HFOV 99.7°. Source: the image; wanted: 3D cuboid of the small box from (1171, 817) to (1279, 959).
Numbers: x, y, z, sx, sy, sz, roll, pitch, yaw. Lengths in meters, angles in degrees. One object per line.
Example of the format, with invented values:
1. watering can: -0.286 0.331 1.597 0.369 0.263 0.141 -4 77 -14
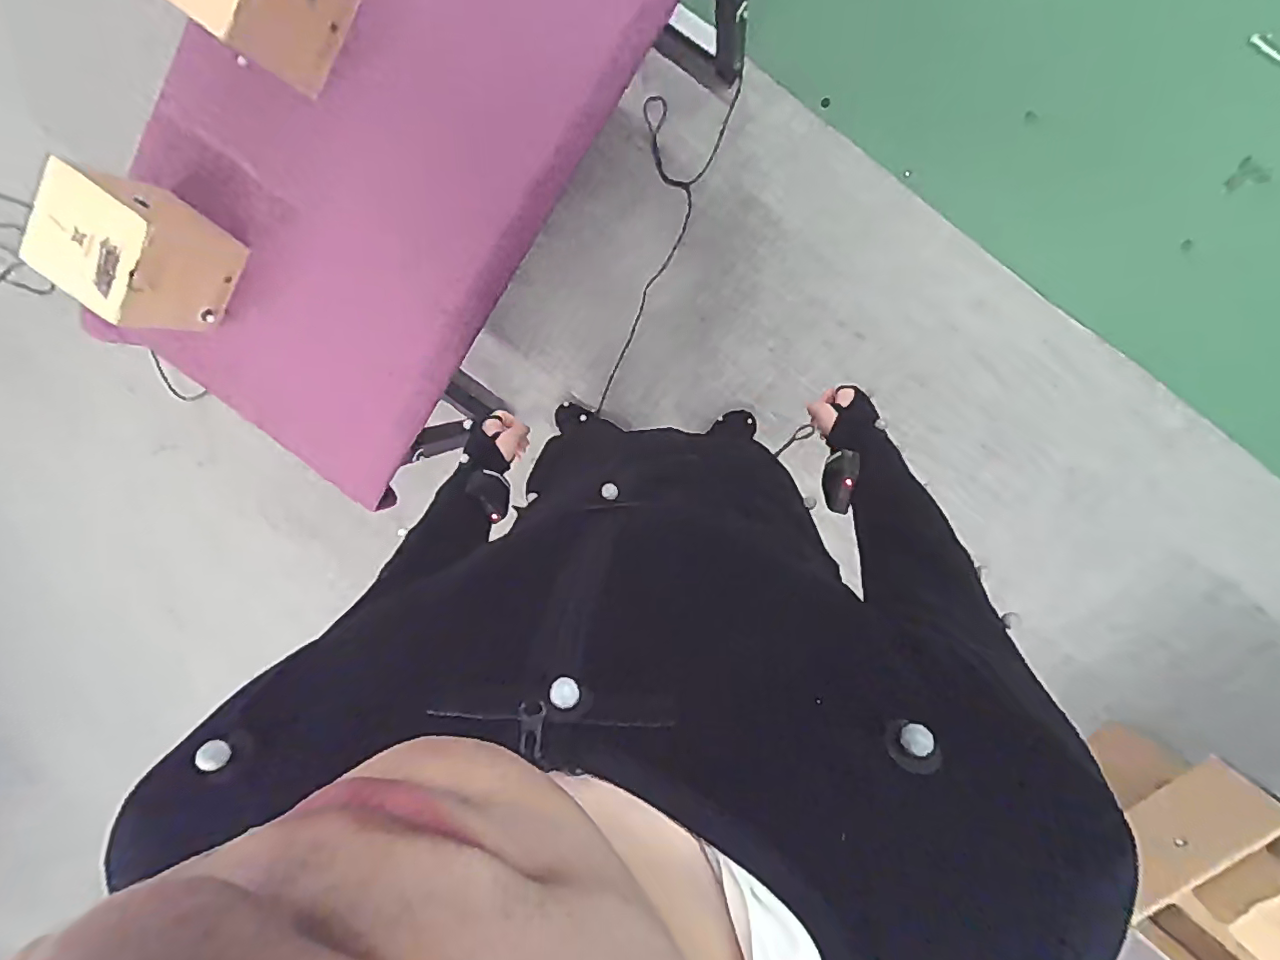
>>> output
1. small box: 1.262 0.836 1.091 0.179 0.176 0.168 41 105 -1

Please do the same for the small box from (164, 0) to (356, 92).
1. small box: -0.541 -0.688 0.751 0.179 0.176 0.168 36 104 0

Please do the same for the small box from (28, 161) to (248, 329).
1. small box: -0.780 -0.355 0.856 0.179 0.176 0.168 35 104 1
